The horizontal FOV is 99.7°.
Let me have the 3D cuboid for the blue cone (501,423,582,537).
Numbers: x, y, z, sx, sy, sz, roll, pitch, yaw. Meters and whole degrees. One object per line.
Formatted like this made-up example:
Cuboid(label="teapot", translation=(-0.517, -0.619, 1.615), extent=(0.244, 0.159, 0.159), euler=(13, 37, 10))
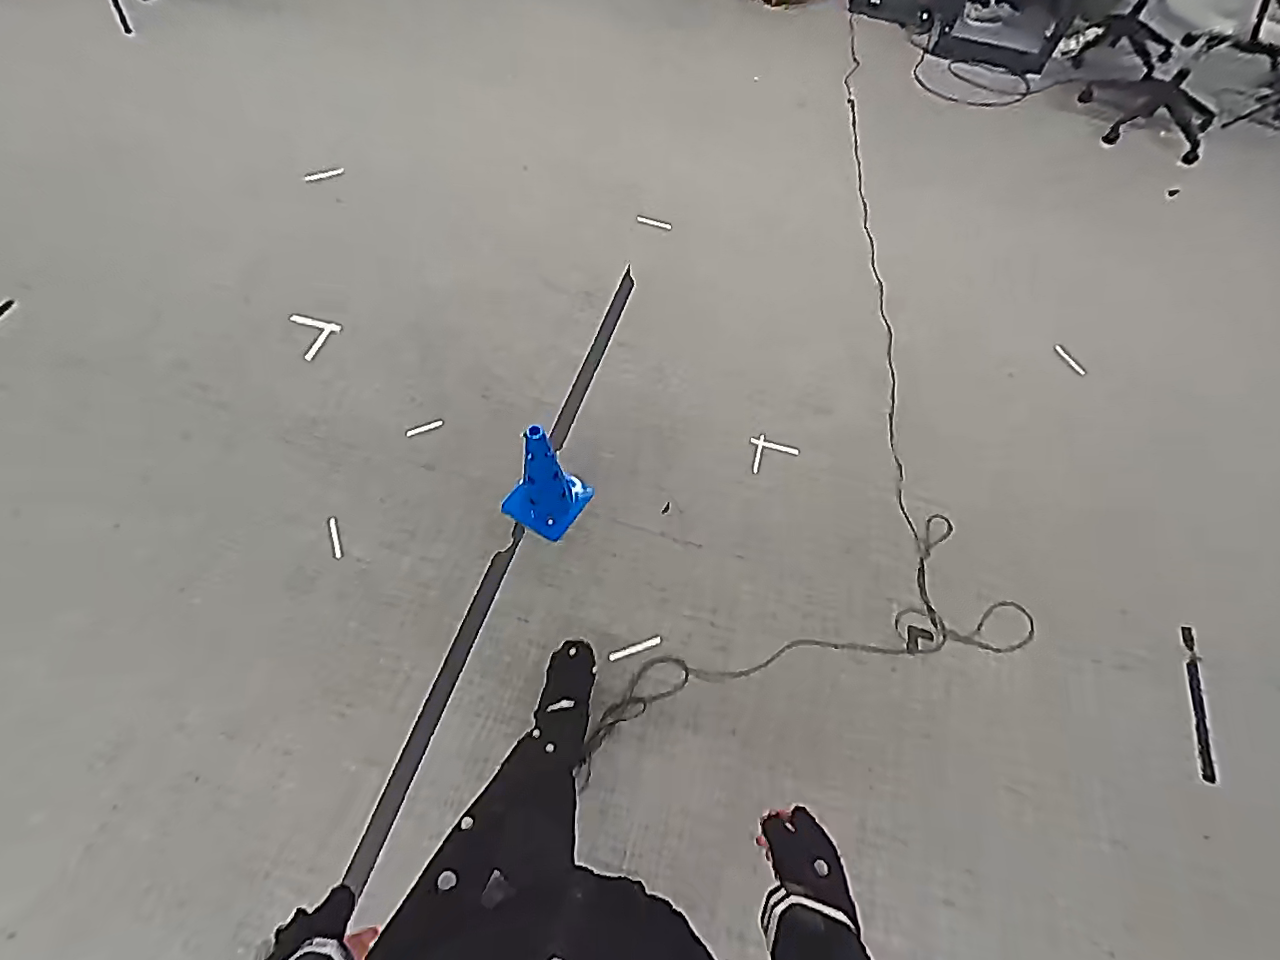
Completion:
Cuboid(label="blue cone", translation=(-0.270, -0.023, 1.405), extent=(0.192, 0.380, 0.193), euler=(31, 64, 13))
